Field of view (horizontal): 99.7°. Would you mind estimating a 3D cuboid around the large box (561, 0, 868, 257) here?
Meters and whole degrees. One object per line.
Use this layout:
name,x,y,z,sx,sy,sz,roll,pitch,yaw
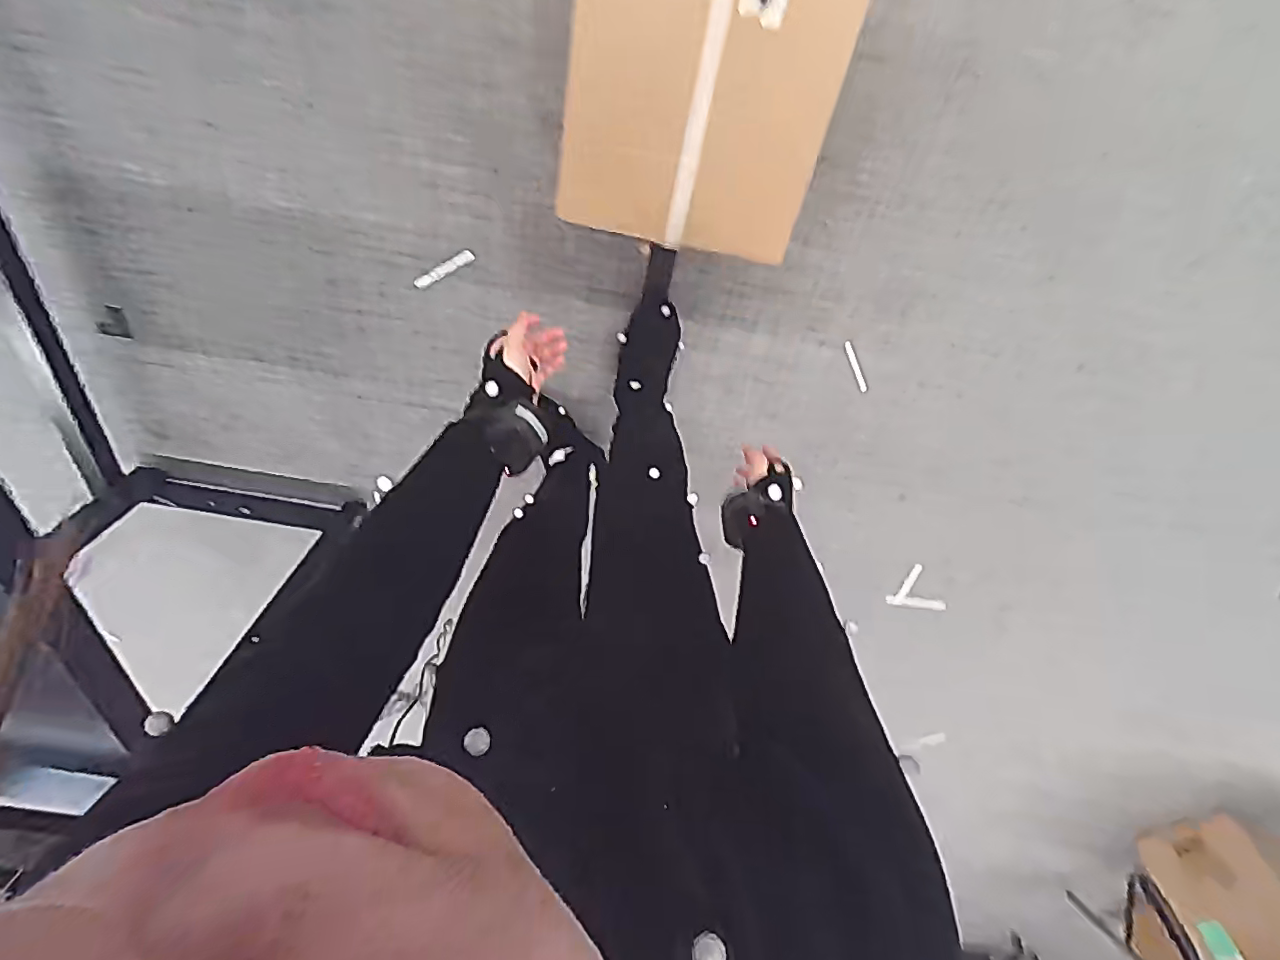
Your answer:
large box,0.088,-0.568,0.730,0.320,0.320,0.408,10,125,-5
